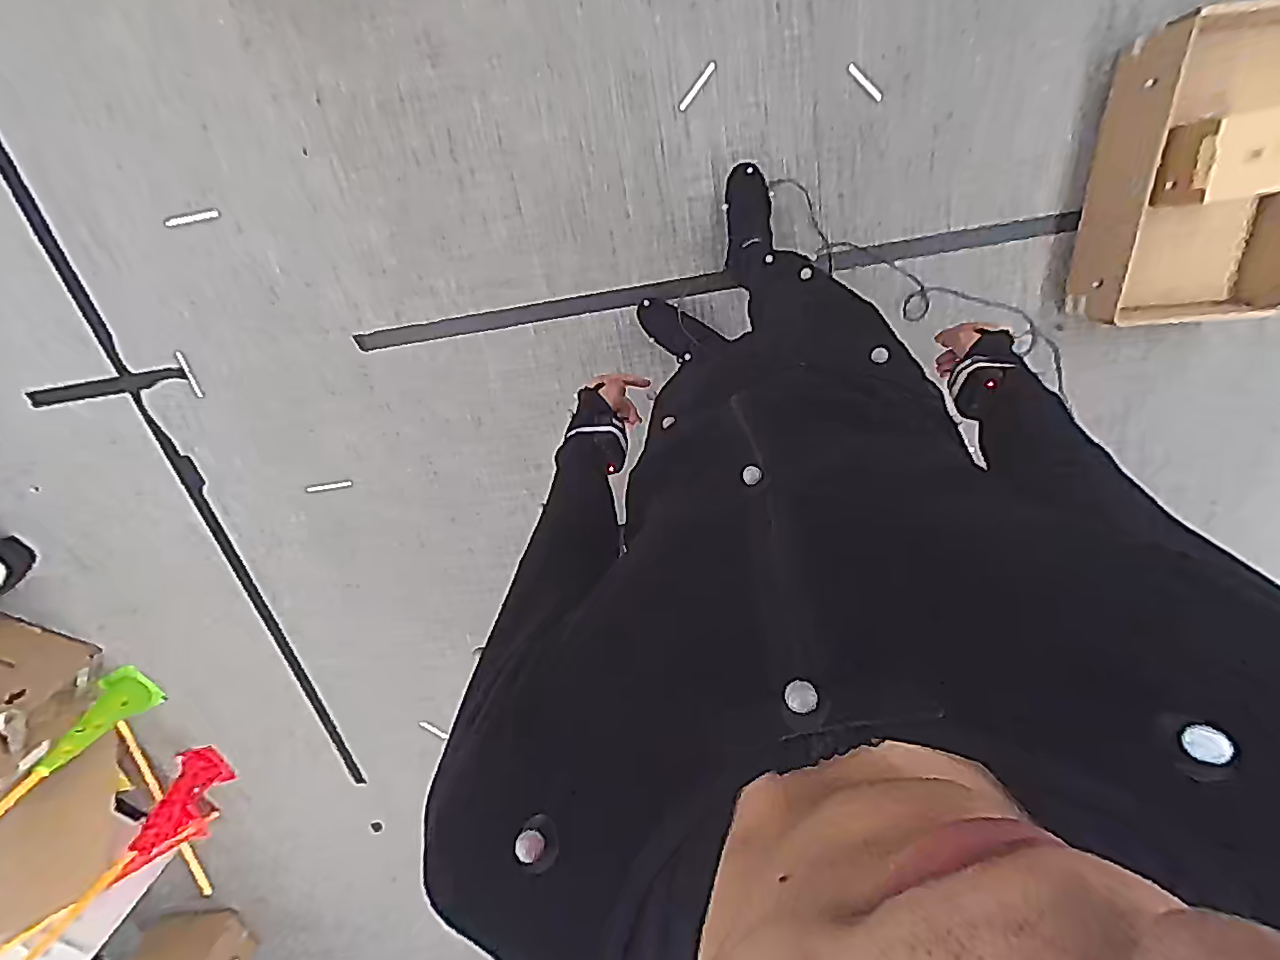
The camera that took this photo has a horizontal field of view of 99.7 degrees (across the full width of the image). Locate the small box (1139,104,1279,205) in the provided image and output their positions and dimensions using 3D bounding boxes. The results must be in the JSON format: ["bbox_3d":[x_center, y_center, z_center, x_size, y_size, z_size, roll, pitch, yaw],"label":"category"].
[{"bbox_3d":[1.288,-0.724,1.215,0.179,0.176,0.168,-8,115,5],"label":"small box"}]
